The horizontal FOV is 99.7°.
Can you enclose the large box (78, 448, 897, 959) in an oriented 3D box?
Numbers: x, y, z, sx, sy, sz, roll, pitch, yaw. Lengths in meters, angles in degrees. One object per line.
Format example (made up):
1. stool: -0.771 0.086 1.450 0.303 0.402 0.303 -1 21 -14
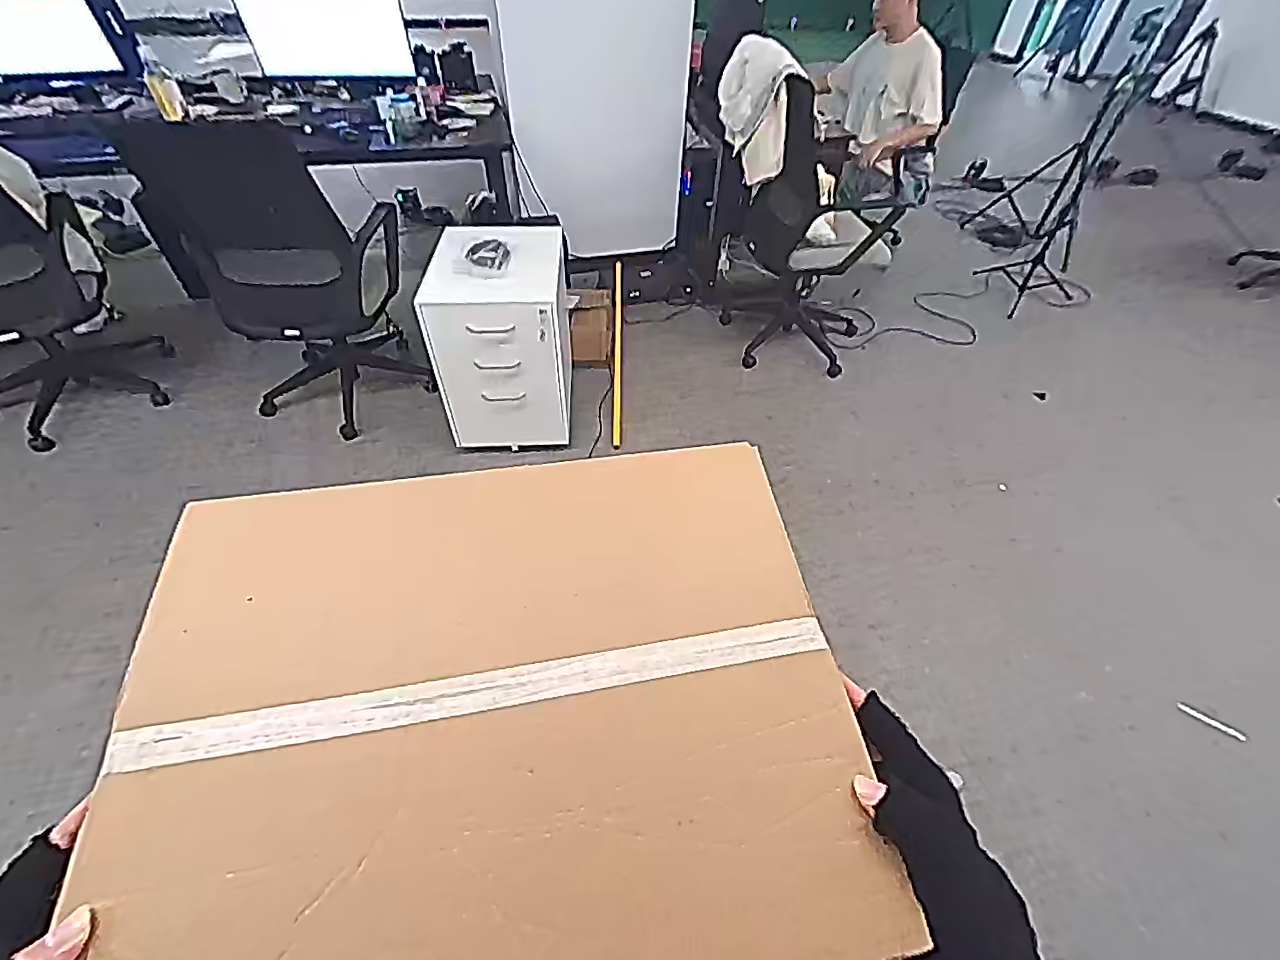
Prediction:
1. large box: -0.091 0.205 0.454 0.408 0.320 0.320 -7 58 -8
